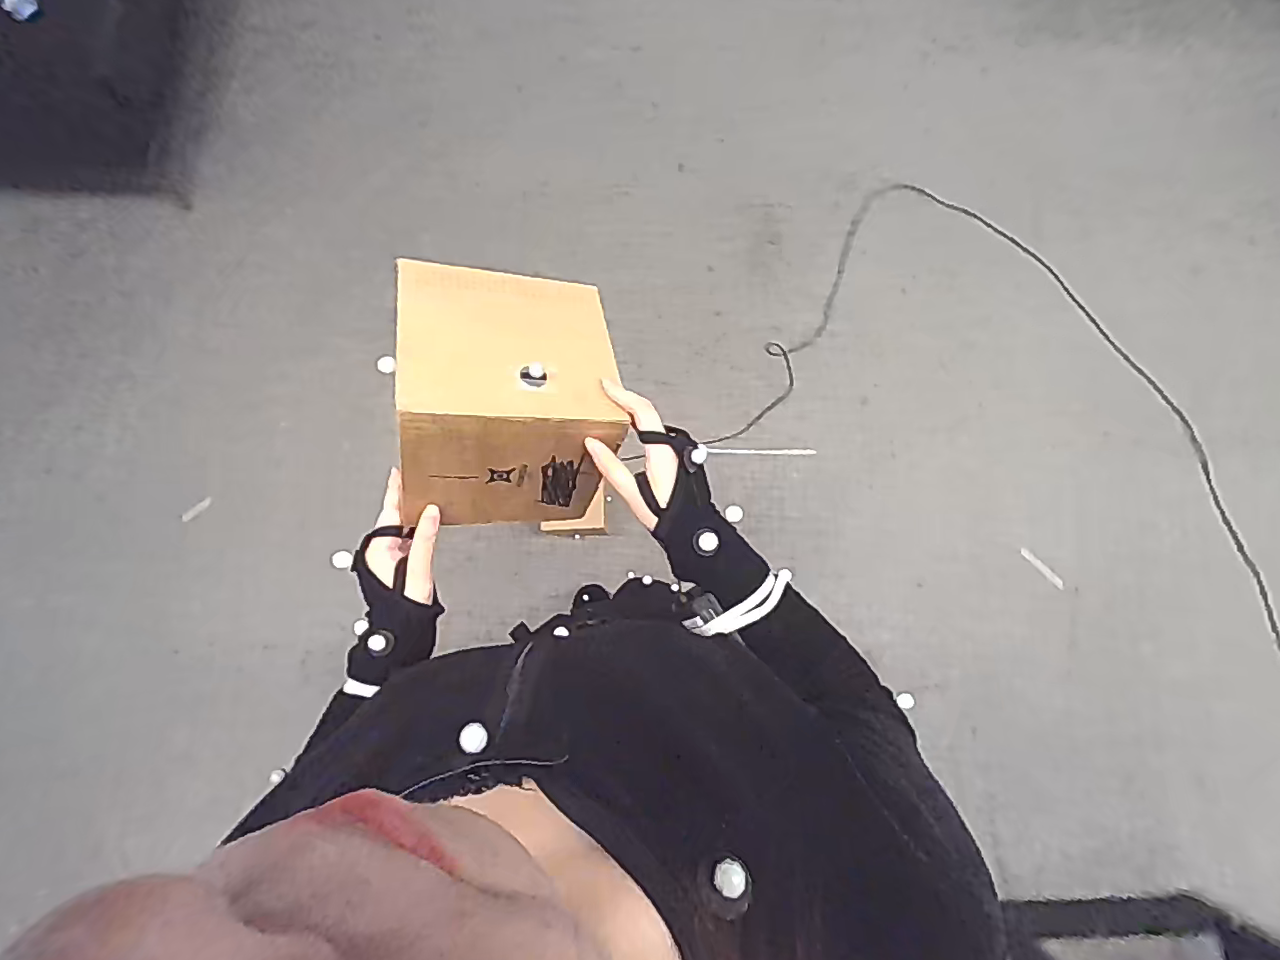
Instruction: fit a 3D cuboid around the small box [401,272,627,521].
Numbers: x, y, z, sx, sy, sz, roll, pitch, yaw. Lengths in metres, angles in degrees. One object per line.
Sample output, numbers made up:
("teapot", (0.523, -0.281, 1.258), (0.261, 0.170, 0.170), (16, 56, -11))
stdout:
("small box", (-0.132, -0.075, 0.519), (0.179, 0.168, 0.176), (0, 57, -22))
